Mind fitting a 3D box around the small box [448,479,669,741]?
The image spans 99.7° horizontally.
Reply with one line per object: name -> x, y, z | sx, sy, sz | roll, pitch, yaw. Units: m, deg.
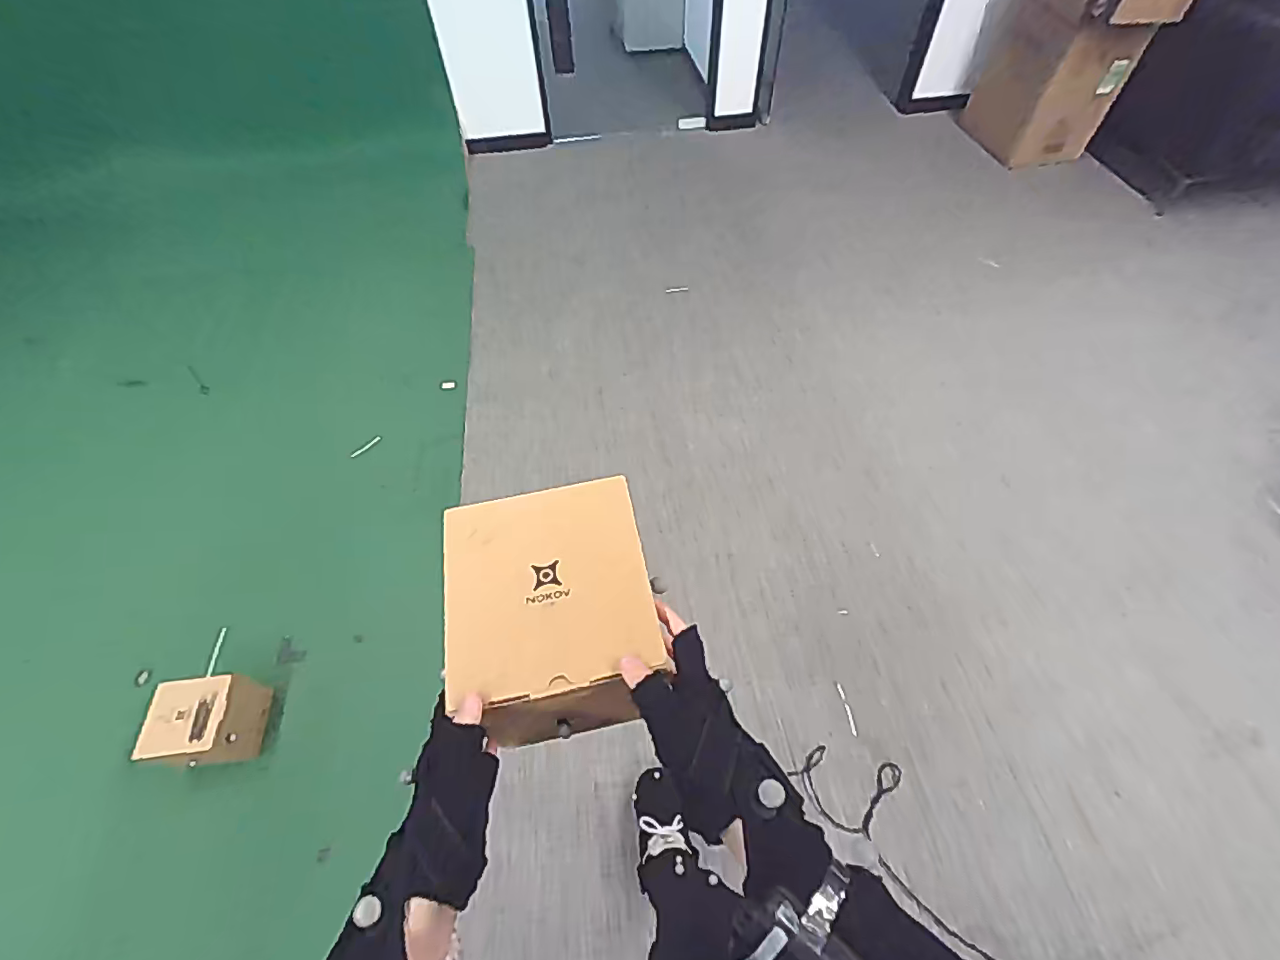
small box -> -0.074, 0.126, 0.509 | 0.168, 0.176, 0.179 | -10, 57, -6
